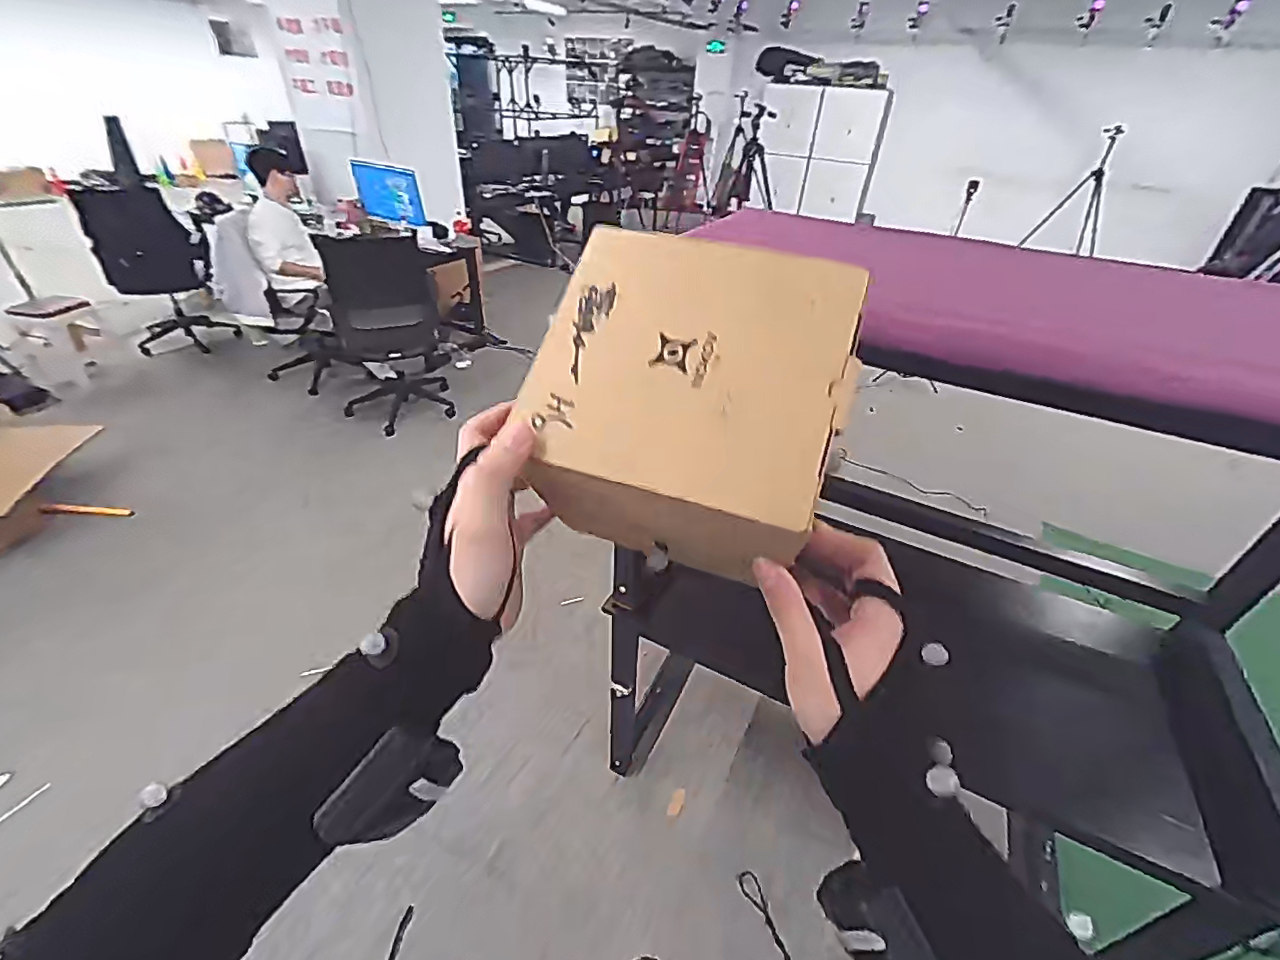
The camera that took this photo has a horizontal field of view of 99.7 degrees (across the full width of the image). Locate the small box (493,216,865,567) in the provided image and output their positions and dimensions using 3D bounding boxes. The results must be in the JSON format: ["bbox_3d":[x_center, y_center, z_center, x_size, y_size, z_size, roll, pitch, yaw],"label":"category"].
[{"bbox_3d":[0.033,-0.047,0.383,0.179,0.176,0.168,16,72,13],"label":"small box"}]
